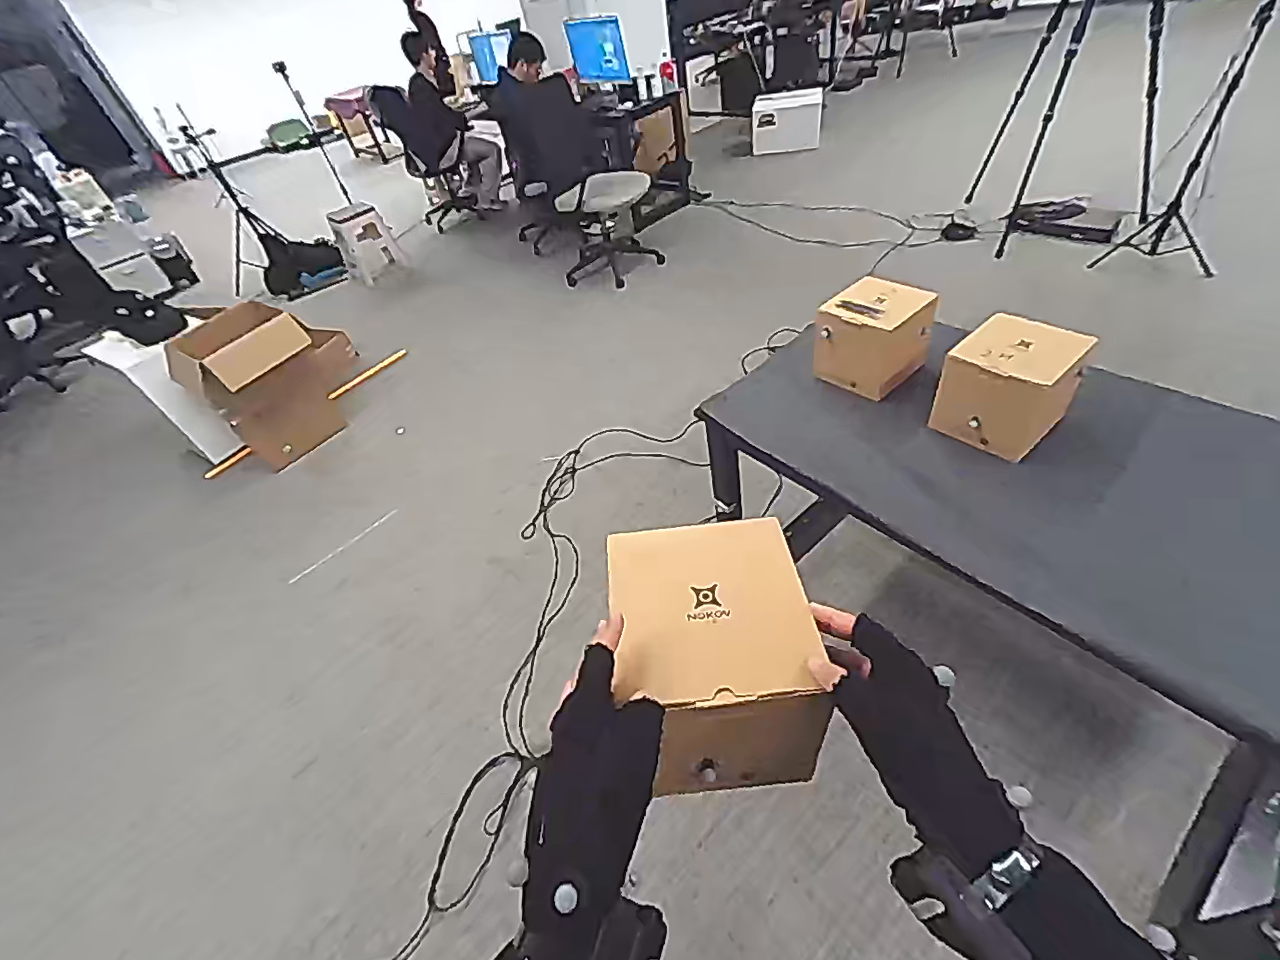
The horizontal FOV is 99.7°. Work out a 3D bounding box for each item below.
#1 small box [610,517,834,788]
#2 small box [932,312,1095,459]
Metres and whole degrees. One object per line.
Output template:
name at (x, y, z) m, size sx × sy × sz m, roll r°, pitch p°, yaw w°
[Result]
small box at (0.061, 0.159, 0.506) m, size 0.168 × 0.176 × 0.179 m, roll -6°, pitch 43°, yaw 0°
small box at (0.661, -0.171, 0.979) m, size 0.179 × 0.176 × 0.168 m, roll -35°, pitch 48°, yaw -21°
